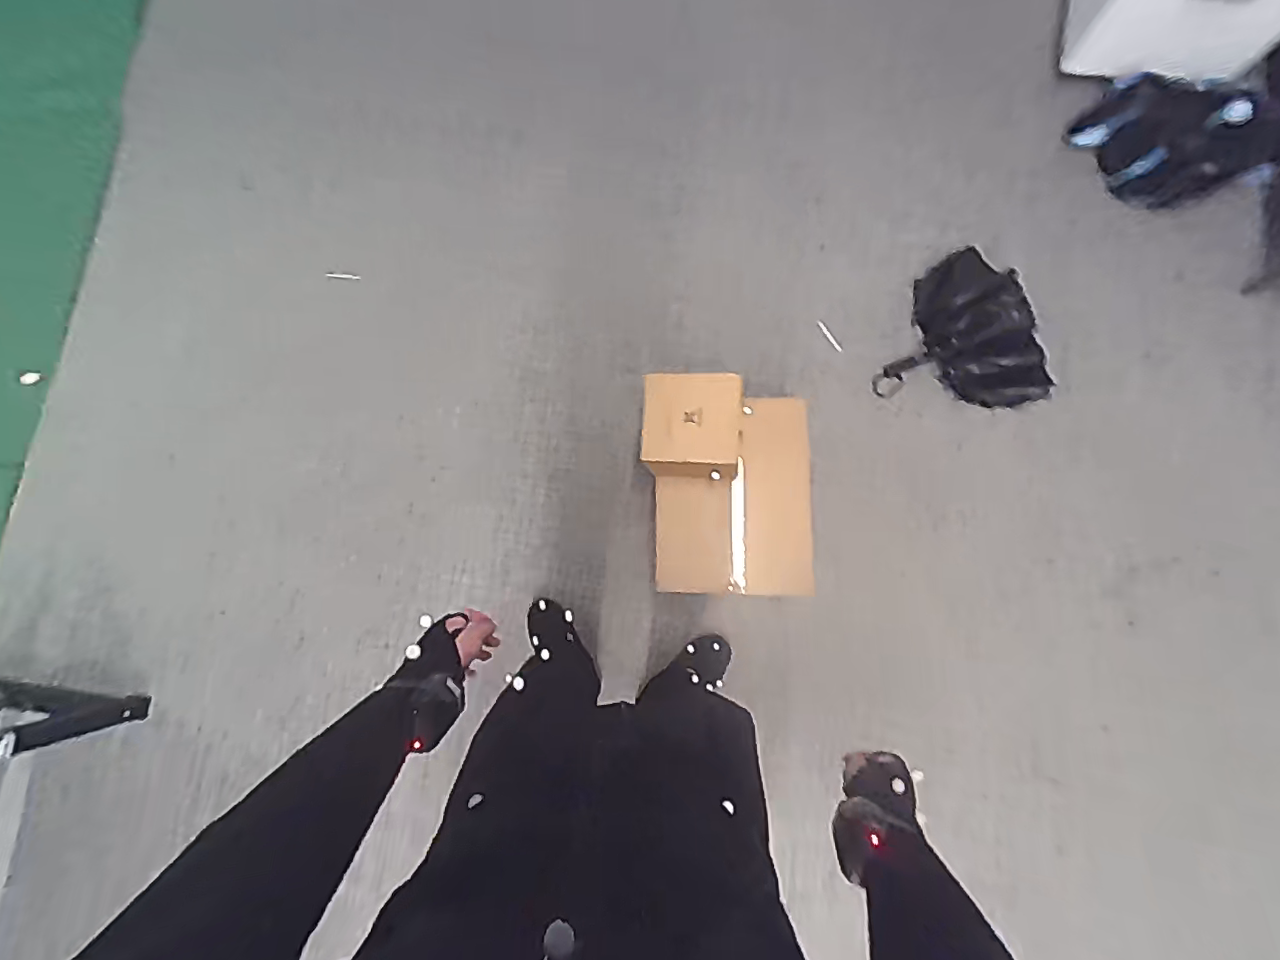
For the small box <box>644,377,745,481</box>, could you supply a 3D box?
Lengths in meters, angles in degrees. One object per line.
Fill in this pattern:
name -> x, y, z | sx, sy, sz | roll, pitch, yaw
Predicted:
small box -> 0.111, -0.093, 1.040 | 0.179, 0.176, 0.168 | 1, 81, 12
